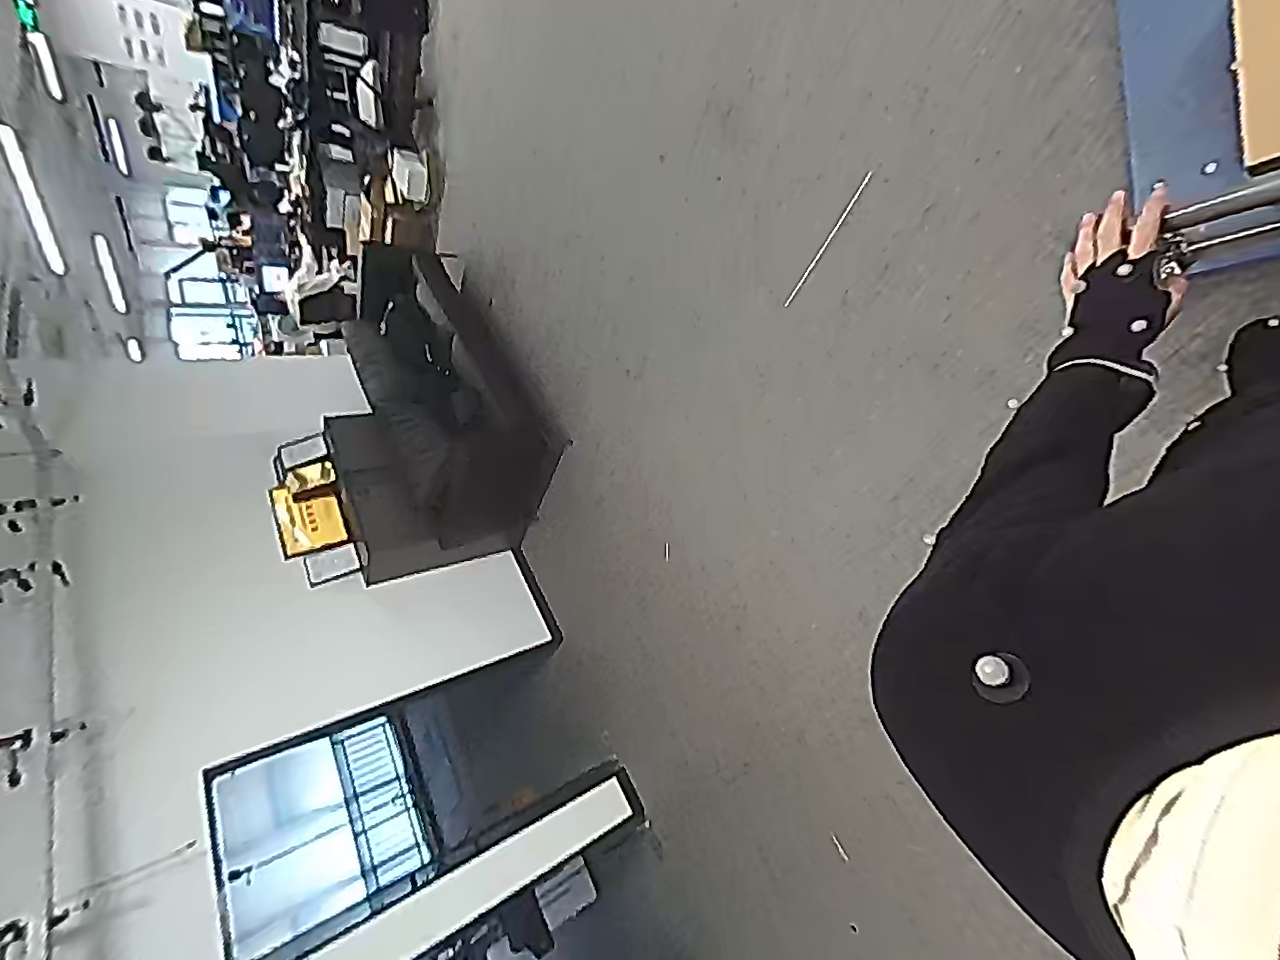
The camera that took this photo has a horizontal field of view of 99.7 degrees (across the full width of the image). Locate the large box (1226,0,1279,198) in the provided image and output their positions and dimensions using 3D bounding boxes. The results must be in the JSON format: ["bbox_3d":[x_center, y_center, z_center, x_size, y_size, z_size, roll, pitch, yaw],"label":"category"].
[{"bbox_3d":[1.053,-0.676,0.738,0.320,0.320,0.408,-3,95,52],"label":"large box"}]
